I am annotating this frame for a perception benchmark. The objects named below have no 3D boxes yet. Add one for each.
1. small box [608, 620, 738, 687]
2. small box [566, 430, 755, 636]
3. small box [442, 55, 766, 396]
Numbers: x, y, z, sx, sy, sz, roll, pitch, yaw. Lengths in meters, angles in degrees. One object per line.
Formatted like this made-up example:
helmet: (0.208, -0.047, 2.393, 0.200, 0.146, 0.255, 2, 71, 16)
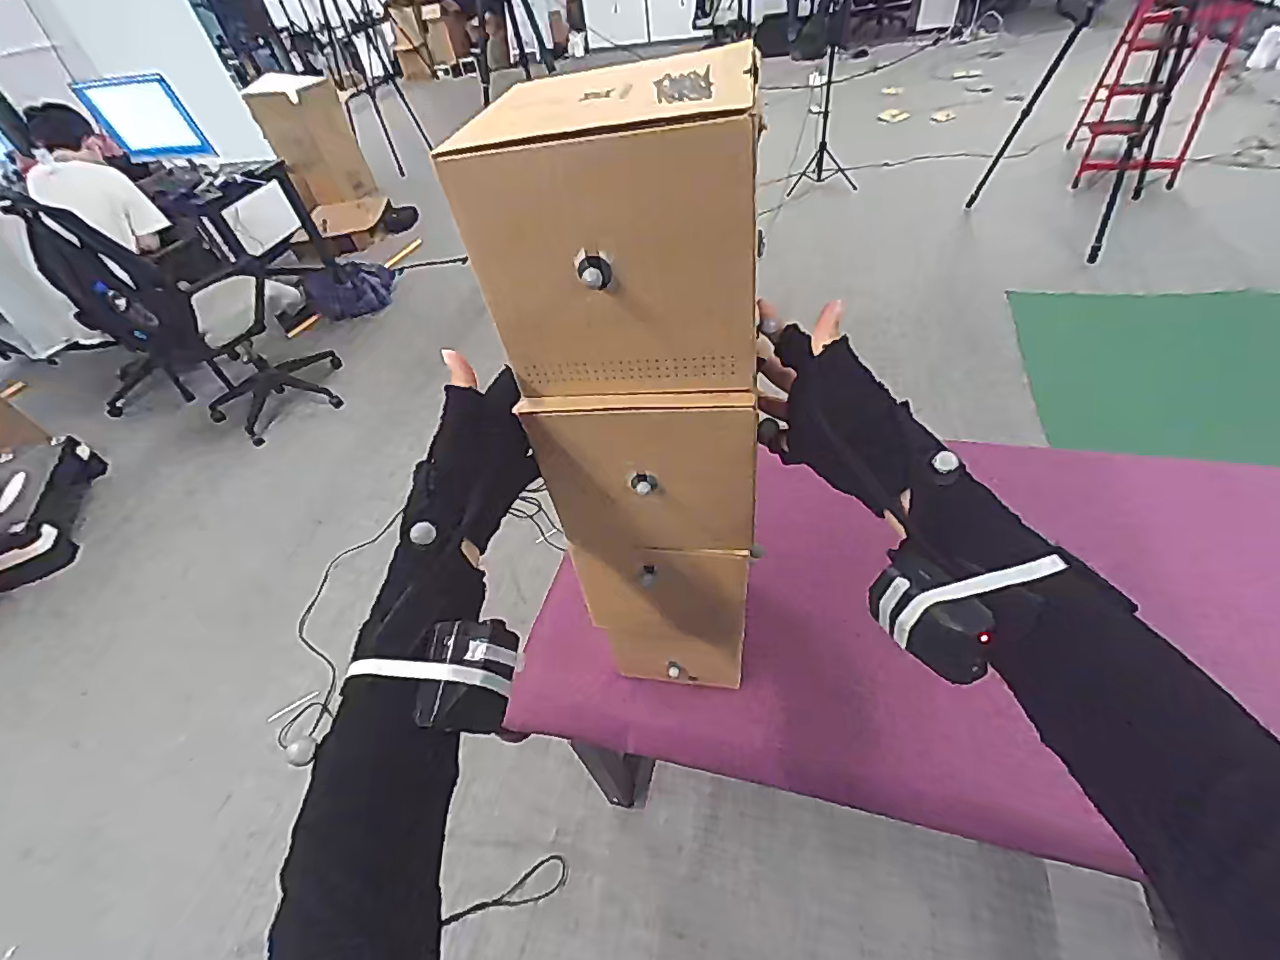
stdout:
small box: (0.052, 0.160, 0.748, 0.168, 0.176, 0.179, 3, 48, 11)
small box: (0.035, 0.062, 0.618, 0.179, 0.176, 0.168, 3, 48, 12)
small box: (-0.002, -0.174, 0.390, 0.179, 0.176, 0.168, 1, 47, 12)
